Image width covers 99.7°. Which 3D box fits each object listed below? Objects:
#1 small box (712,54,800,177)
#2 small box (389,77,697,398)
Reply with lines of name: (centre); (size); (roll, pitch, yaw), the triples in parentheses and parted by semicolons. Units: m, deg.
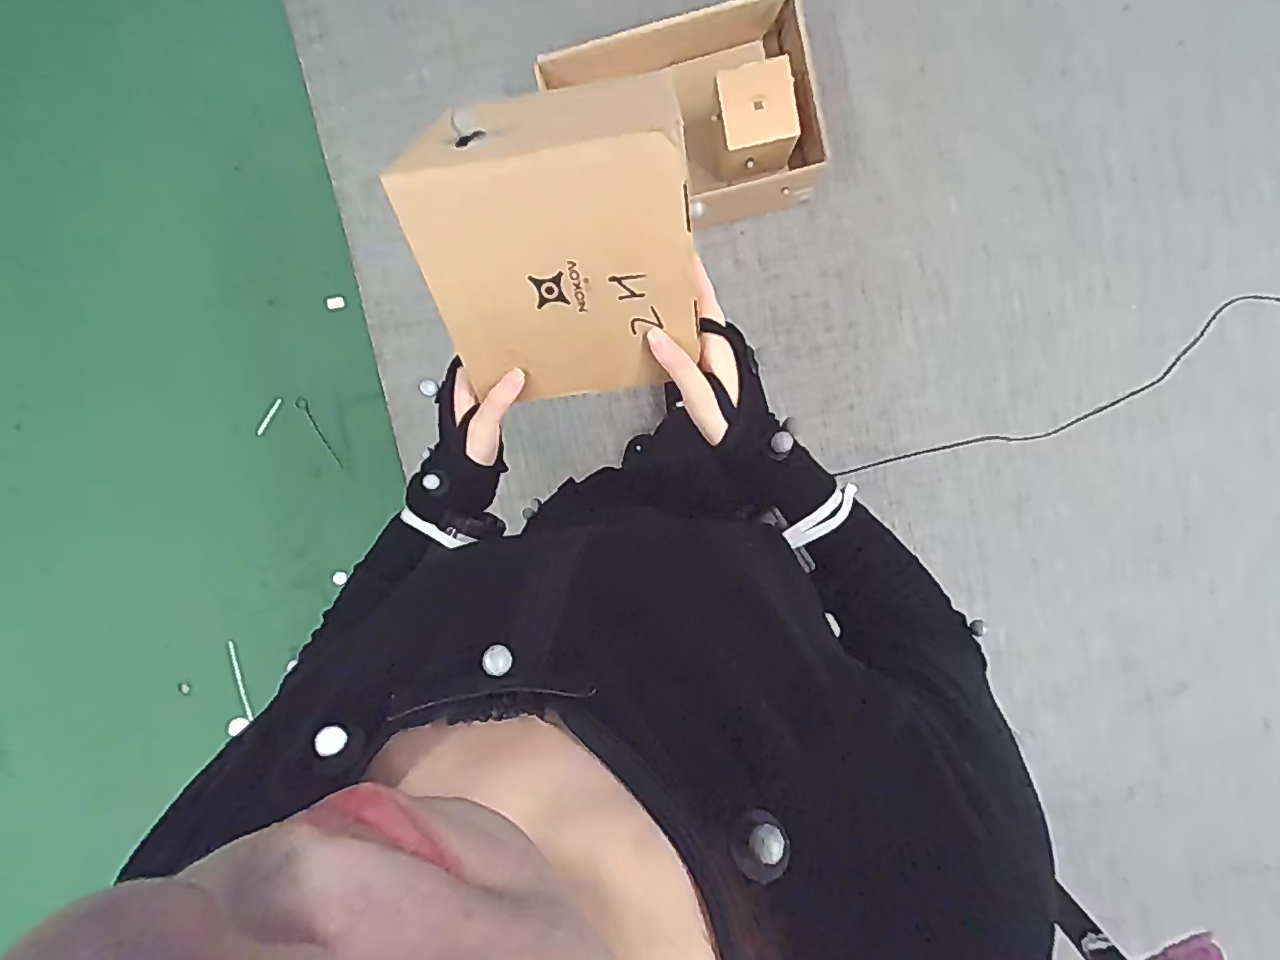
small box: (0.269, -0.847, 1.281); (0.168, 0.176, 0.179); (-10, 94, 4)
small box: (-0.052, -0.186, 0.417); (0.179, 0.176, 0.168); (-6, 136, 5)
